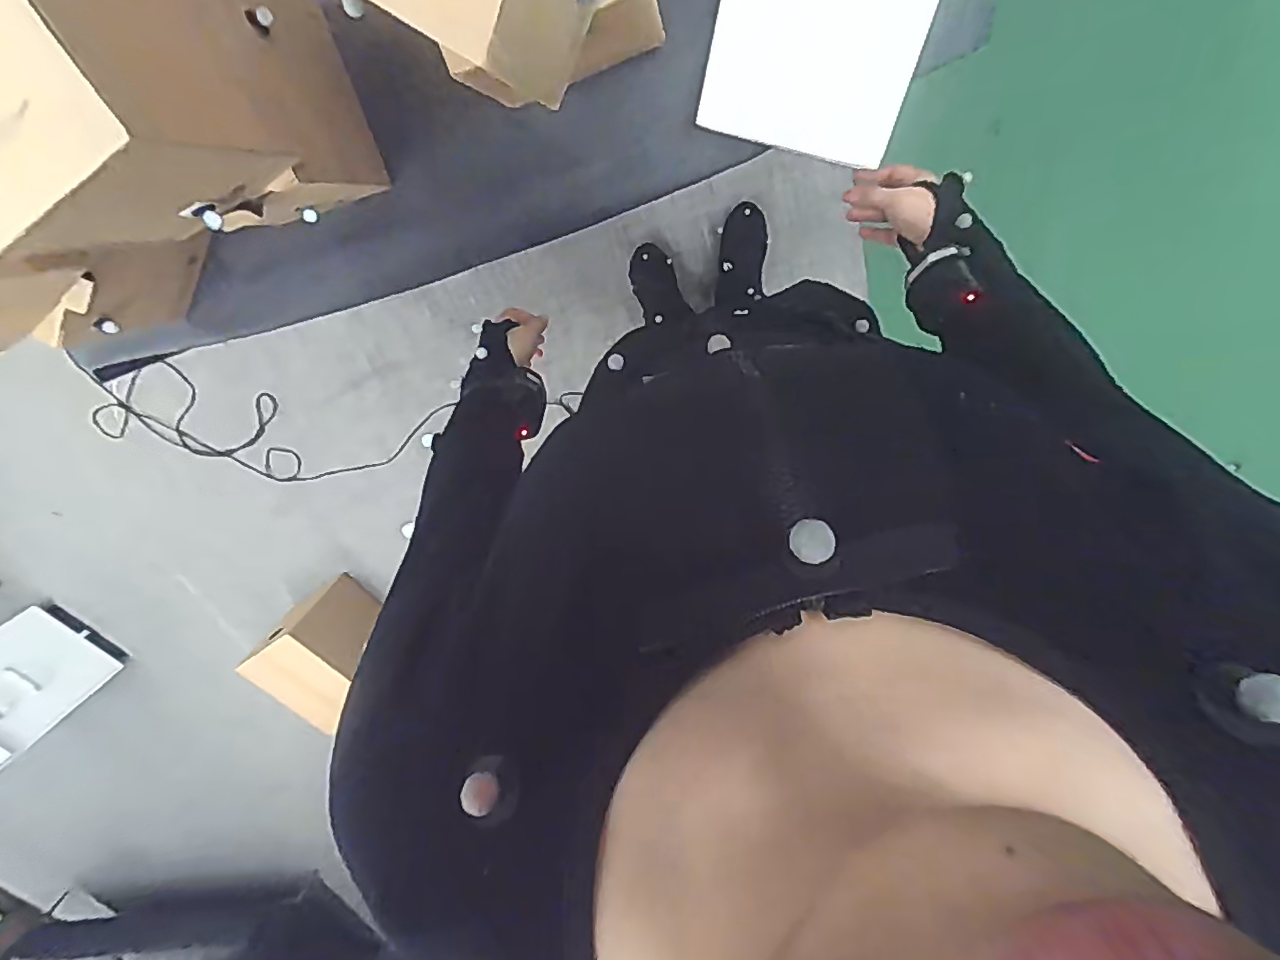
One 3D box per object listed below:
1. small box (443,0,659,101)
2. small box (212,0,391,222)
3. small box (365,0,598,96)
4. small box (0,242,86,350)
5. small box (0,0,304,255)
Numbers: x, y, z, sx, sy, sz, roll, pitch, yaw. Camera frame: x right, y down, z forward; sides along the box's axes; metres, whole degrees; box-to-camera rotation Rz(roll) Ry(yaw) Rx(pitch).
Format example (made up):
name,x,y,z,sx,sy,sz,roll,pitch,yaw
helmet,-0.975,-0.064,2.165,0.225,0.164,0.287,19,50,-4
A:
name,x,y,z,sx,sy,sz,roll,pitch,yaw
small box,-0.088,-0.455,0.459,0.179,0.176,0.168,-13,115,15
small box,-0.395,-0.370,0.546,0.168,0.176,0.179,-10,116,14
small box,-0.116,-0.366,0.323,0.179,0.176,0.168,28,119,-7
small box,-0.675,-0.209,0.484,0.179,0.176,0.168,-26,112,21
small box,-0.411,-0.294,0.403,0.168,0.176,0.179,-20,114,19
